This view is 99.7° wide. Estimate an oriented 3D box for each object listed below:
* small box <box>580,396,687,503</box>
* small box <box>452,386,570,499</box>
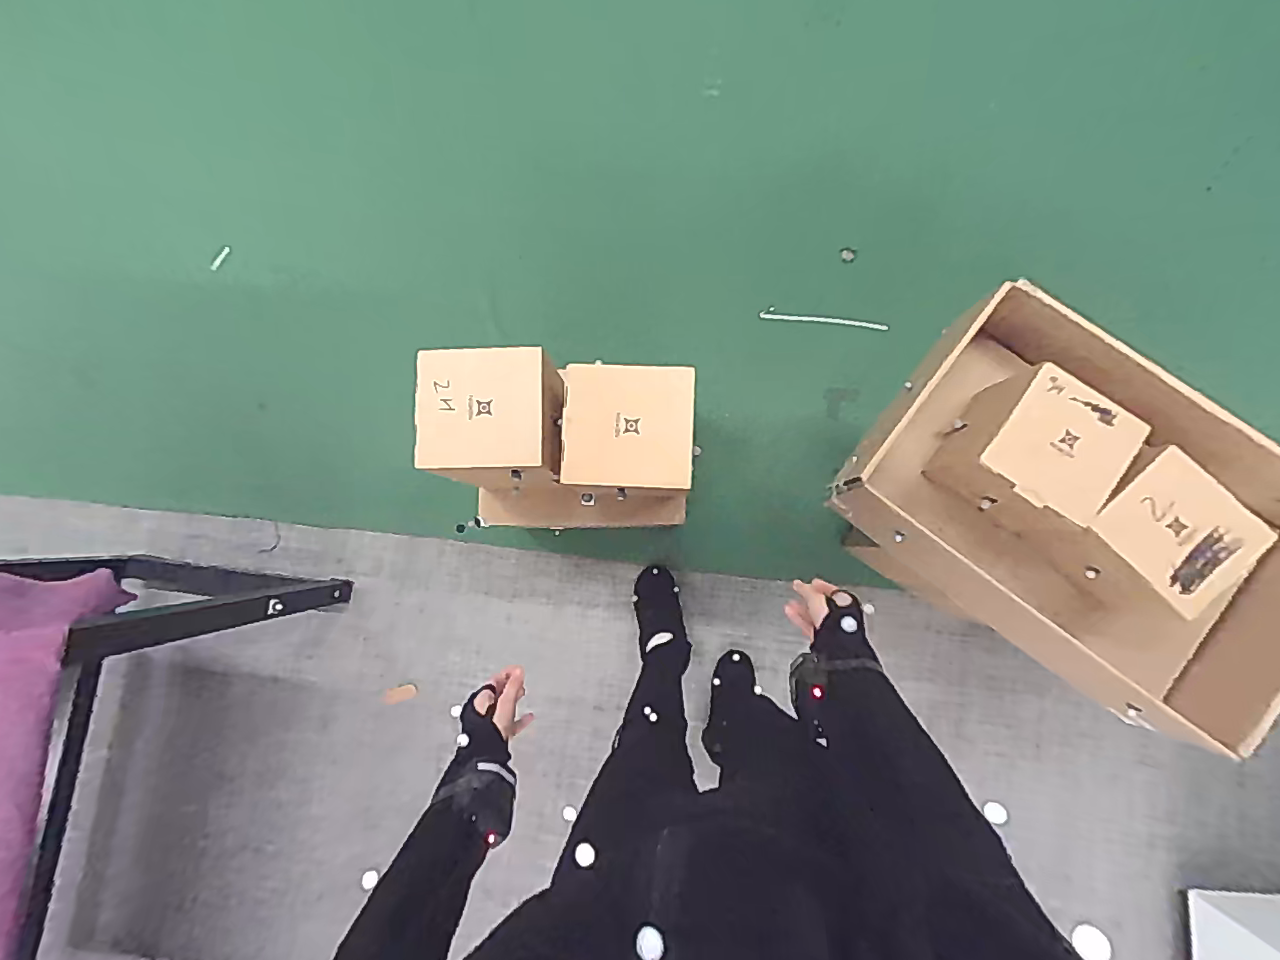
[{"bbox_3d":[-0.006,-0.047,0.965,0.179,0.176,0.168,-1,84,3],"label":"small box"},{"bbox_3d":[-0.224,-0.061,0.979,0.168,0.176,0.179,0,83,3],"label":"small box"}]
